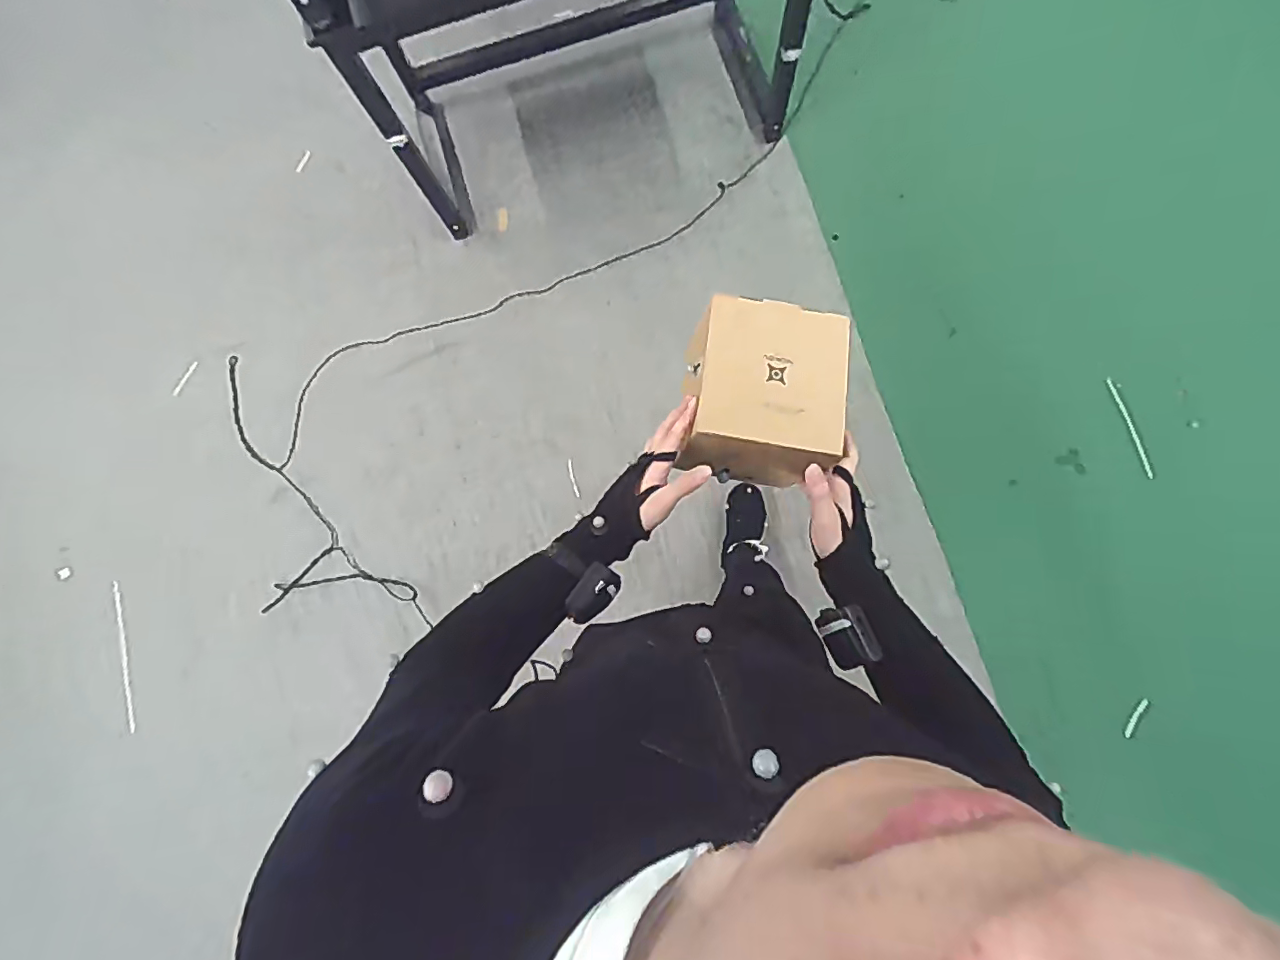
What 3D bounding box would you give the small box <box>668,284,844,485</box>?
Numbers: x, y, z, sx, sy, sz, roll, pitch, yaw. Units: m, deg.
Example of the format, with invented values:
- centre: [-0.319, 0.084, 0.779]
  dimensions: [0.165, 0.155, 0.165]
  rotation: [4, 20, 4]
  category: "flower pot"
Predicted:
- centre: [0.135, -0.107, 0.673]
  dimensions: [0.168, 0.176, 0.179]
  rotation: [10, 75, -4]
  category: "small box"
